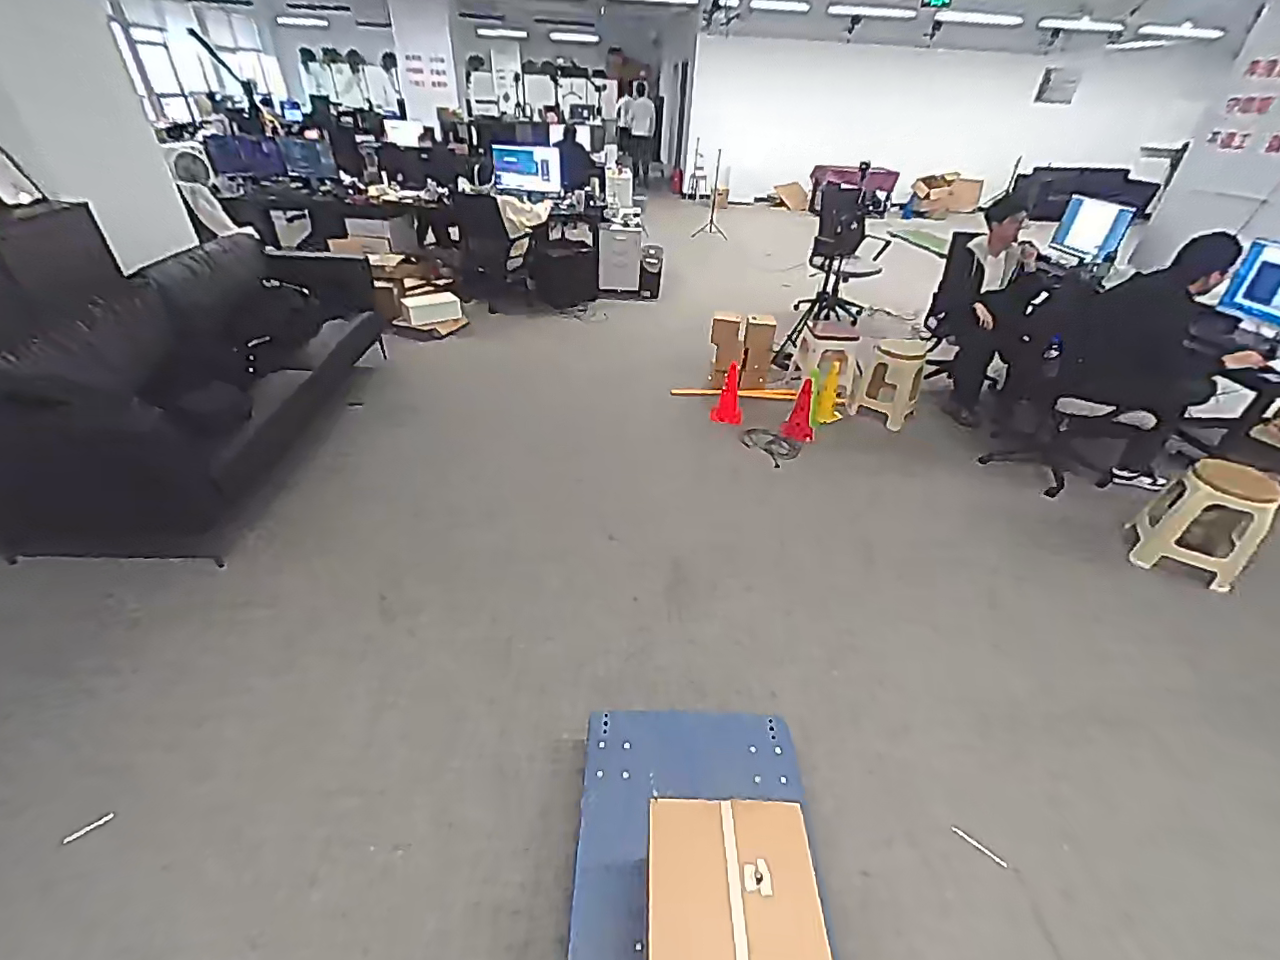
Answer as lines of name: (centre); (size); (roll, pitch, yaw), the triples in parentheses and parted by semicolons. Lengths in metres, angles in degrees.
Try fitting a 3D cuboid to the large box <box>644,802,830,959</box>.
large box: (0.165, 0.905, 1.037); (0.320, 0.320, 0.408); (2, 34, -1)
